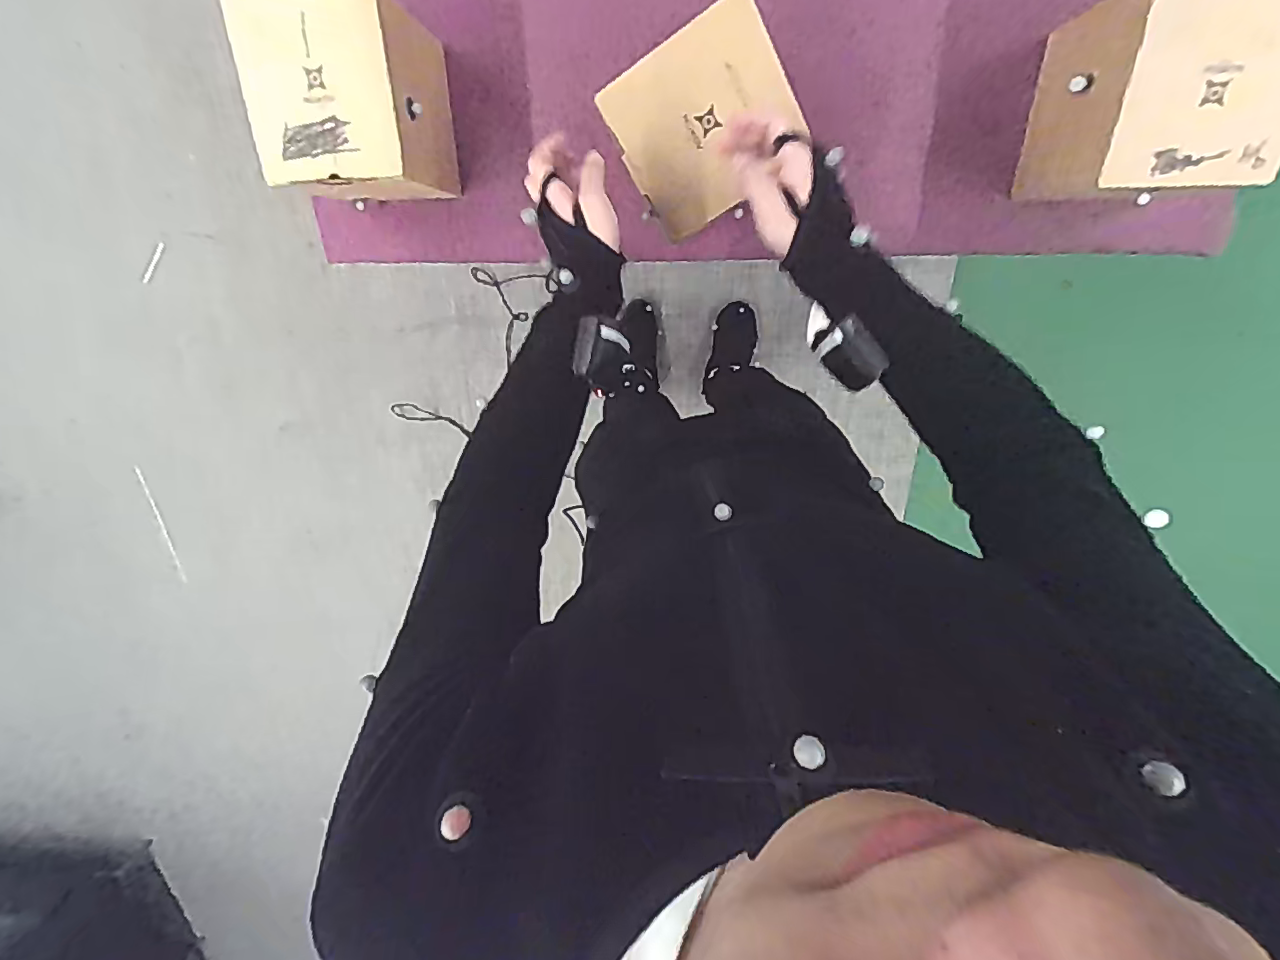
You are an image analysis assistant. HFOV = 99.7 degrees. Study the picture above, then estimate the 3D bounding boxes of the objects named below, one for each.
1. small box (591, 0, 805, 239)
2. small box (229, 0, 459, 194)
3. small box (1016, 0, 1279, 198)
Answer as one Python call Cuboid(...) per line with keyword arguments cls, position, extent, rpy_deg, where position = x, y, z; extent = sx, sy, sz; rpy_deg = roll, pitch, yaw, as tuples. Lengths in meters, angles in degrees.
Cuboid(cls="small box", position=(0.069, -0.403, 0.636), extent=(0.179, 0.176, 0.168), rpy_deg=(-27, 109, 16))
Cuboid(cls="small box", position=(-0.337, -0.452, 0.658), extent=(0.168, 0.176, 0.179), rpy_deg=(1, 112, 6))
Cuboid(cls="small box", position=(0.544, -0.407, 0.578), extent=(0.168, 0.176, 0.179), rpy_deg=(3, 114, 7))
